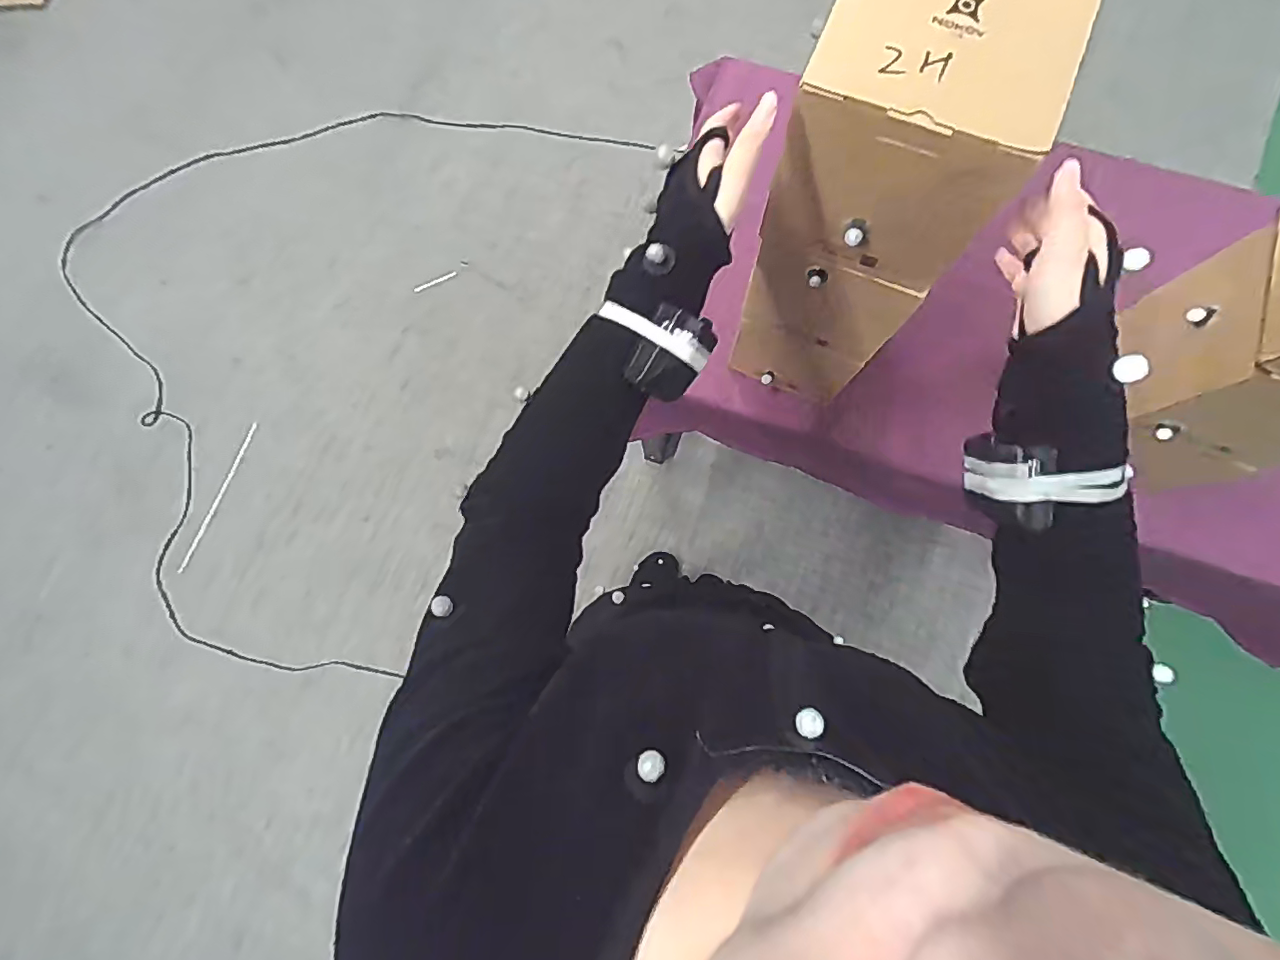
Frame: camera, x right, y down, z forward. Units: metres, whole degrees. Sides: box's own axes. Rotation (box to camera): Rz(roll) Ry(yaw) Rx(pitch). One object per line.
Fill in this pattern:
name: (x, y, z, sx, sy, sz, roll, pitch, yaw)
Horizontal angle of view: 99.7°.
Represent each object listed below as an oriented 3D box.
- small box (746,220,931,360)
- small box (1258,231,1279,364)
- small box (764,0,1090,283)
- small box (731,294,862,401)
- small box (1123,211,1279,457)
small box: (0.229, -0.267, 0.606, 0.168, 0.176, 0.179, 23, 81, 8)
small box: (0.646, -0.170, 0.400, 0.179, 0.176, 0.168, 17, 81, 7)
small box: (0.215, -0.301, 0.445, 0.168, 0.176, 0.179, 22, 82, 7)
small box: (0.239, -0.238, 0.768, 0.168, 0.176, 0.179, 24, 83, 7)
small box: (0.658, -0.138, 0.559, 0.168, 0.176, 0.179, 18, 80, 6)
